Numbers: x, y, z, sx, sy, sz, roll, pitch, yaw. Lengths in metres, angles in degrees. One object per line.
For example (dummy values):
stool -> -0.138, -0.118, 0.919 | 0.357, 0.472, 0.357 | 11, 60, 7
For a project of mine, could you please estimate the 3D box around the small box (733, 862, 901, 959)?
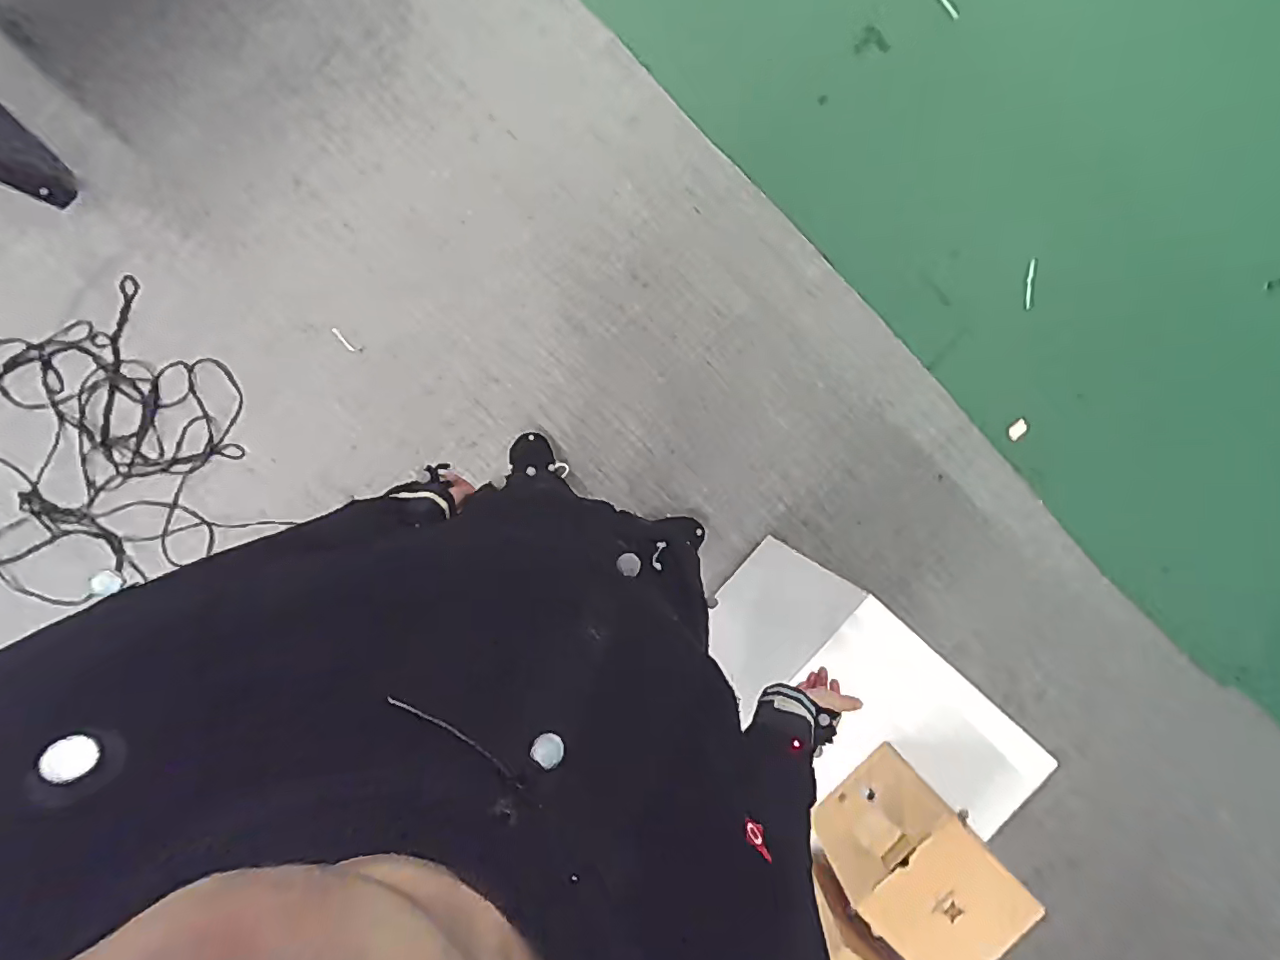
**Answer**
small box -> 0.250, 0.673, 0.736 | 0.179, 0.176, 0.168 | 42, 92, -4

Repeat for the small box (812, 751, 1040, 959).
small box -> 0.370, 0.516, 0.733 | 0.168, 0.176, 0.179 | -44, 93, 1
